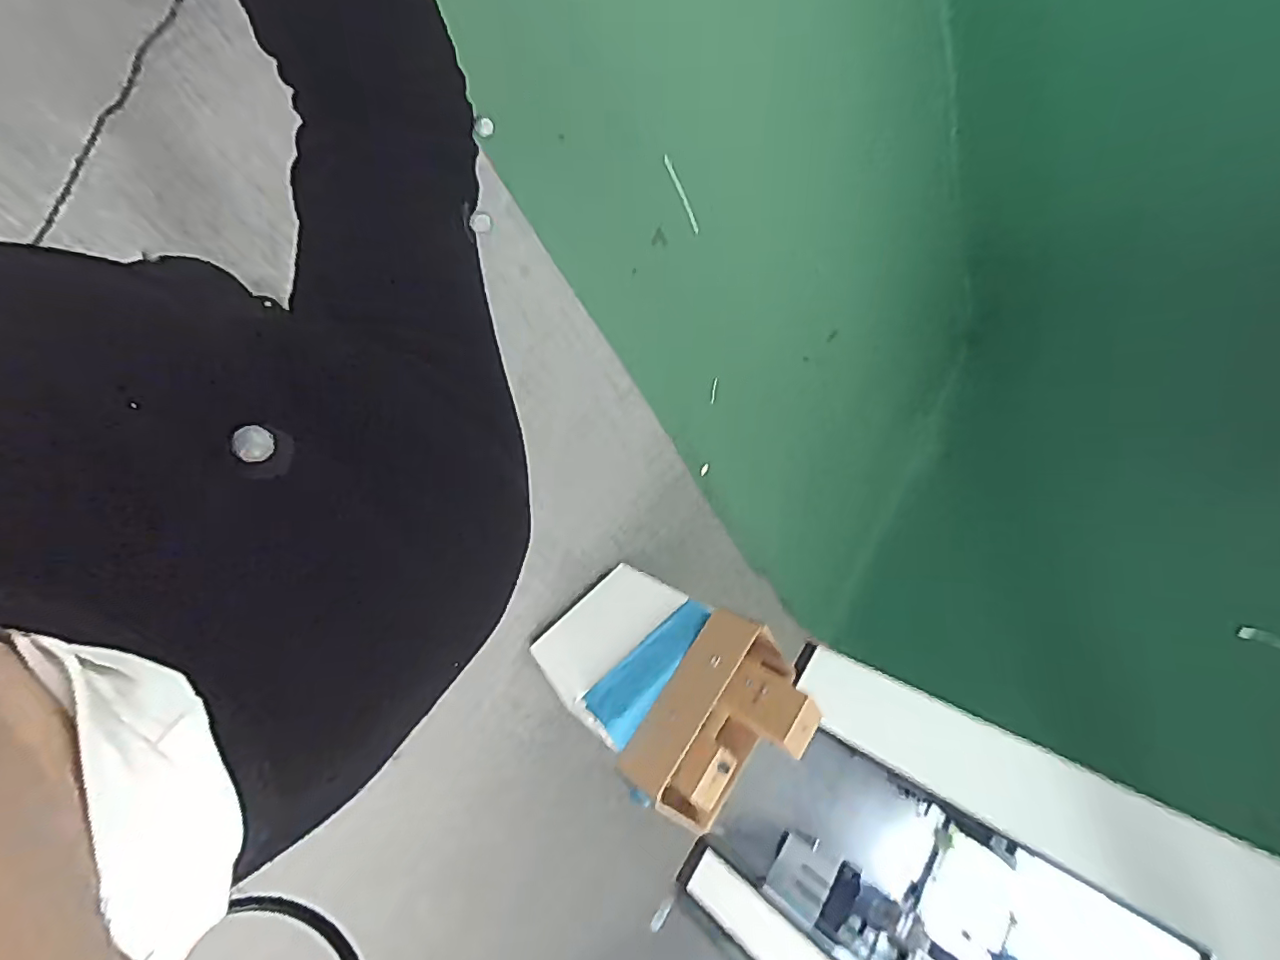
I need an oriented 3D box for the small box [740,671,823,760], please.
[{"bbox_3d":[0.441,0.729,1.688,0.168,0.176,0.179,-51,132,-19],"label":"small box"}]
